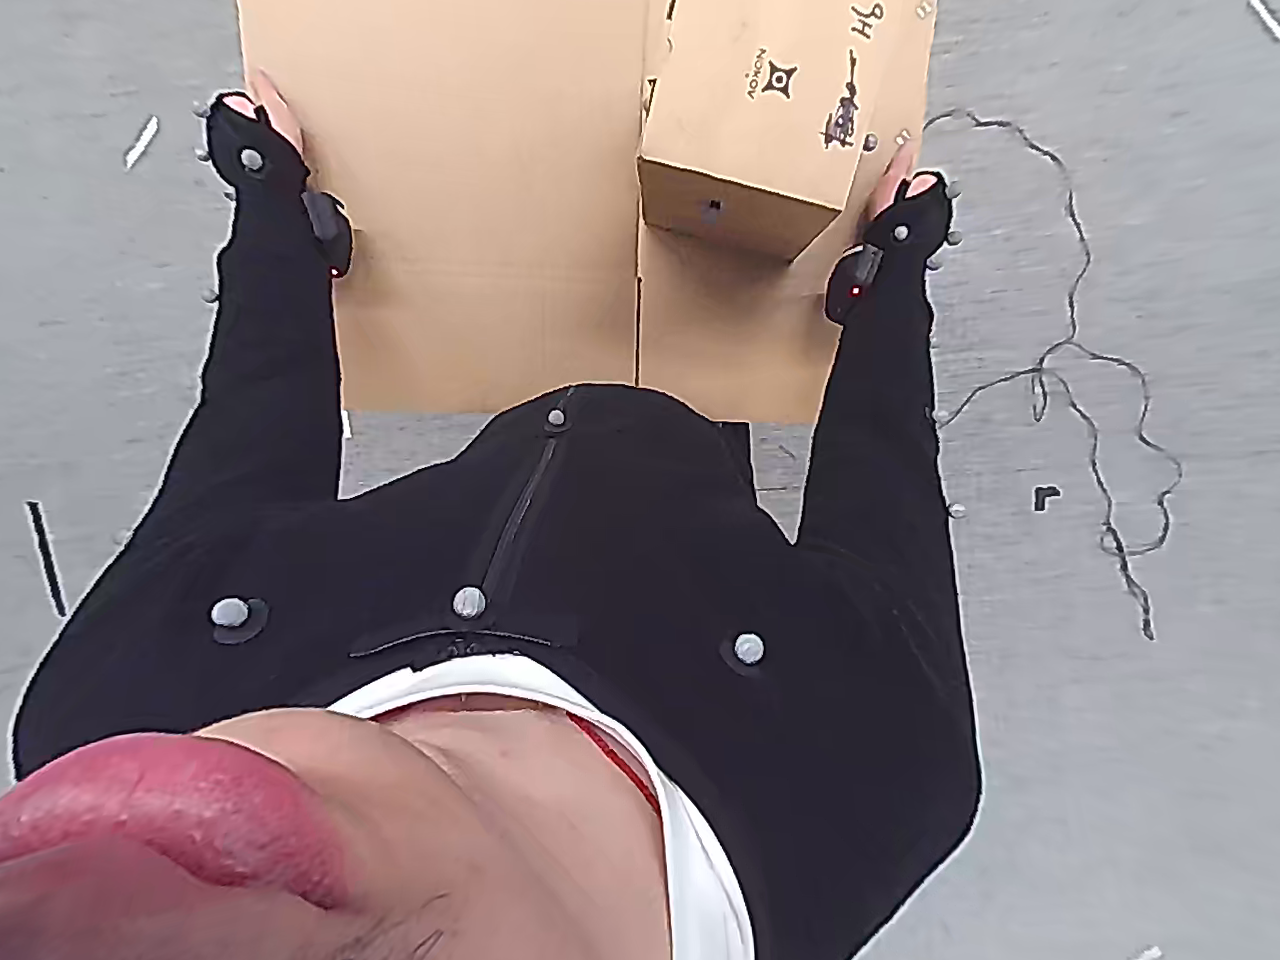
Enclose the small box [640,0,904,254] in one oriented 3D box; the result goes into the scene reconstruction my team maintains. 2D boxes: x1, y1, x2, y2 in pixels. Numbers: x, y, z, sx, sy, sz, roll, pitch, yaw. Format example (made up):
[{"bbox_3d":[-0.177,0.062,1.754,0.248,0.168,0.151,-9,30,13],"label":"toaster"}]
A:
[{"bbox_3d":[0.107,-0.333,0.513,0.179,0.176,0.168,15,99,1],"label":"small box"}]
